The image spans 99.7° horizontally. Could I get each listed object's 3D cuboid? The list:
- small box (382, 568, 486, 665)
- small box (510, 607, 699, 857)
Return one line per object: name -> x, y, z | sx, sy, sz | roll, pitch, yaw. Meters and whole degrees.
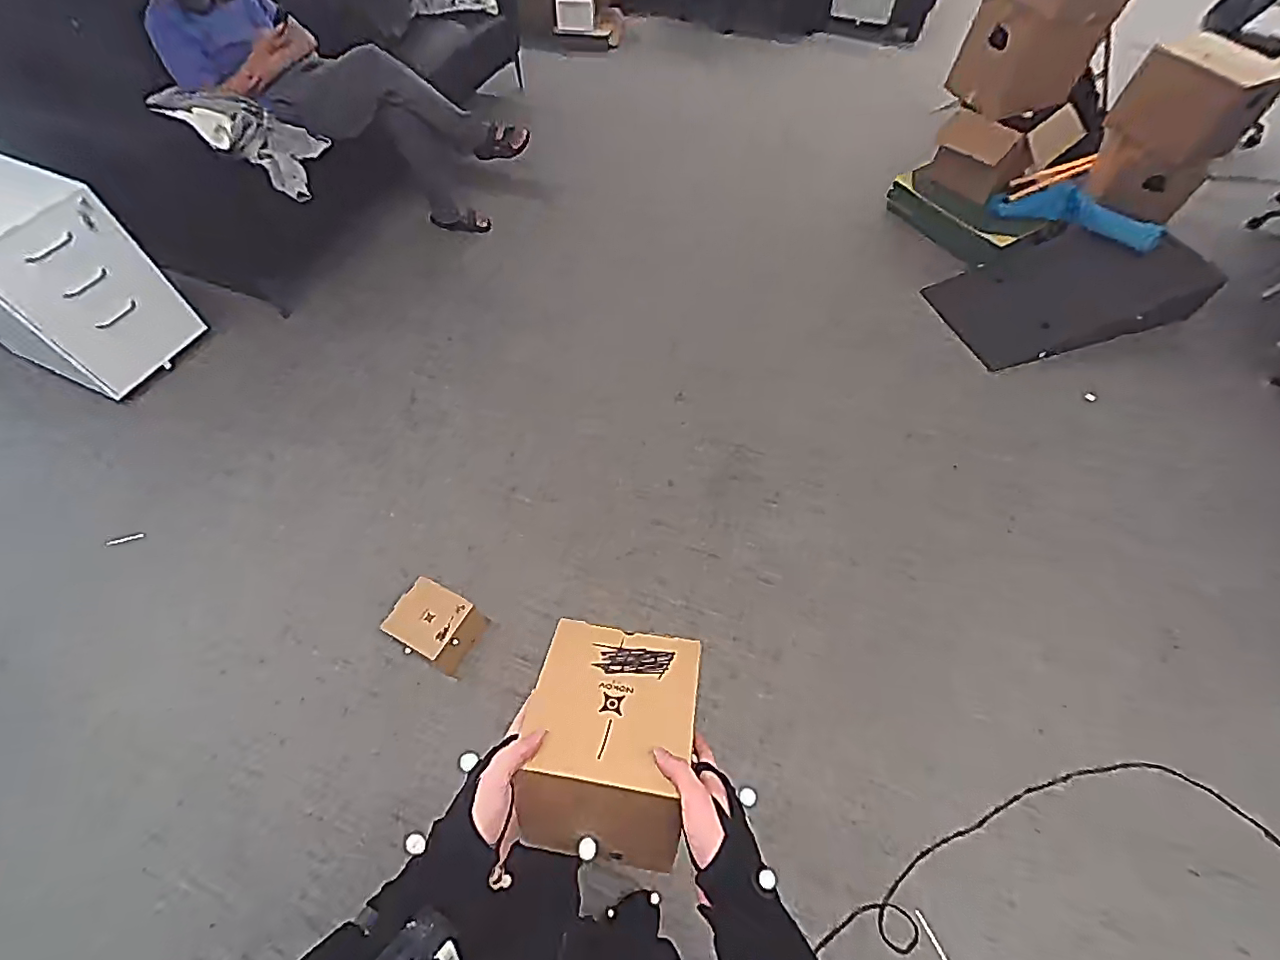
small box -> -0.544, 0.372, 1.452 | 0.179, 0.176, 0.168 | 25, 60, 14
small box -> -0.033, 0.274, 0.601 | 0.168, 0.176, 0.179 | 8, 35, 6
